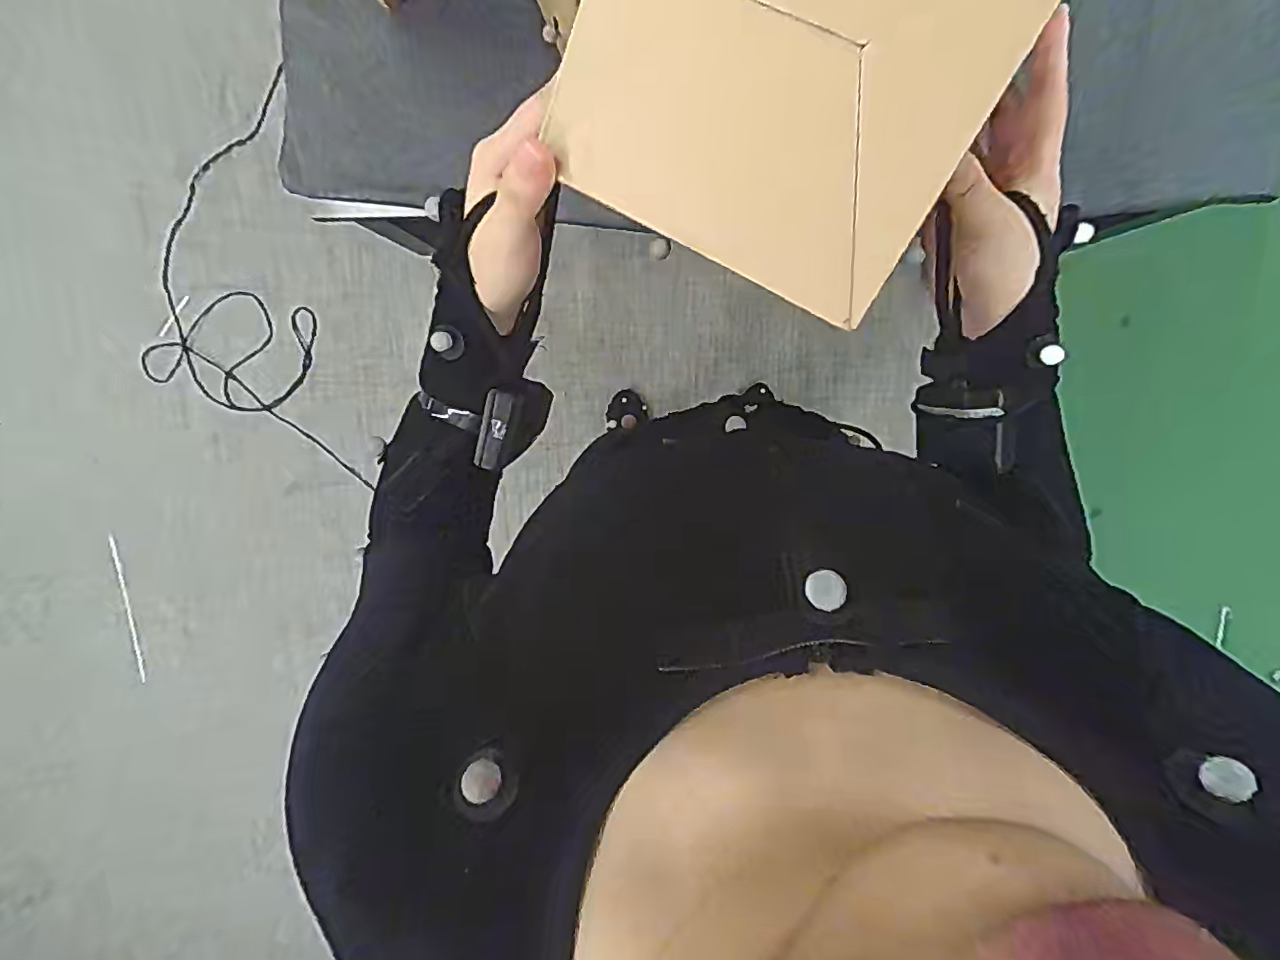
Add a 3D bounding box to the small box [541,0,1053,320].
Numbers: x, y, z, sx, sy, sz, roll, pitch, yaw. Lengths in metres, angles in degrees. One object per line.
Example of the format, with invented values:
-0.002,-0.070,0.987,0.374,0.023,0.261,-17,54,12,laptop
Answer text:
0.077,-0.196,0.270,0.168,0.176,0.179,32,116,7,small box
